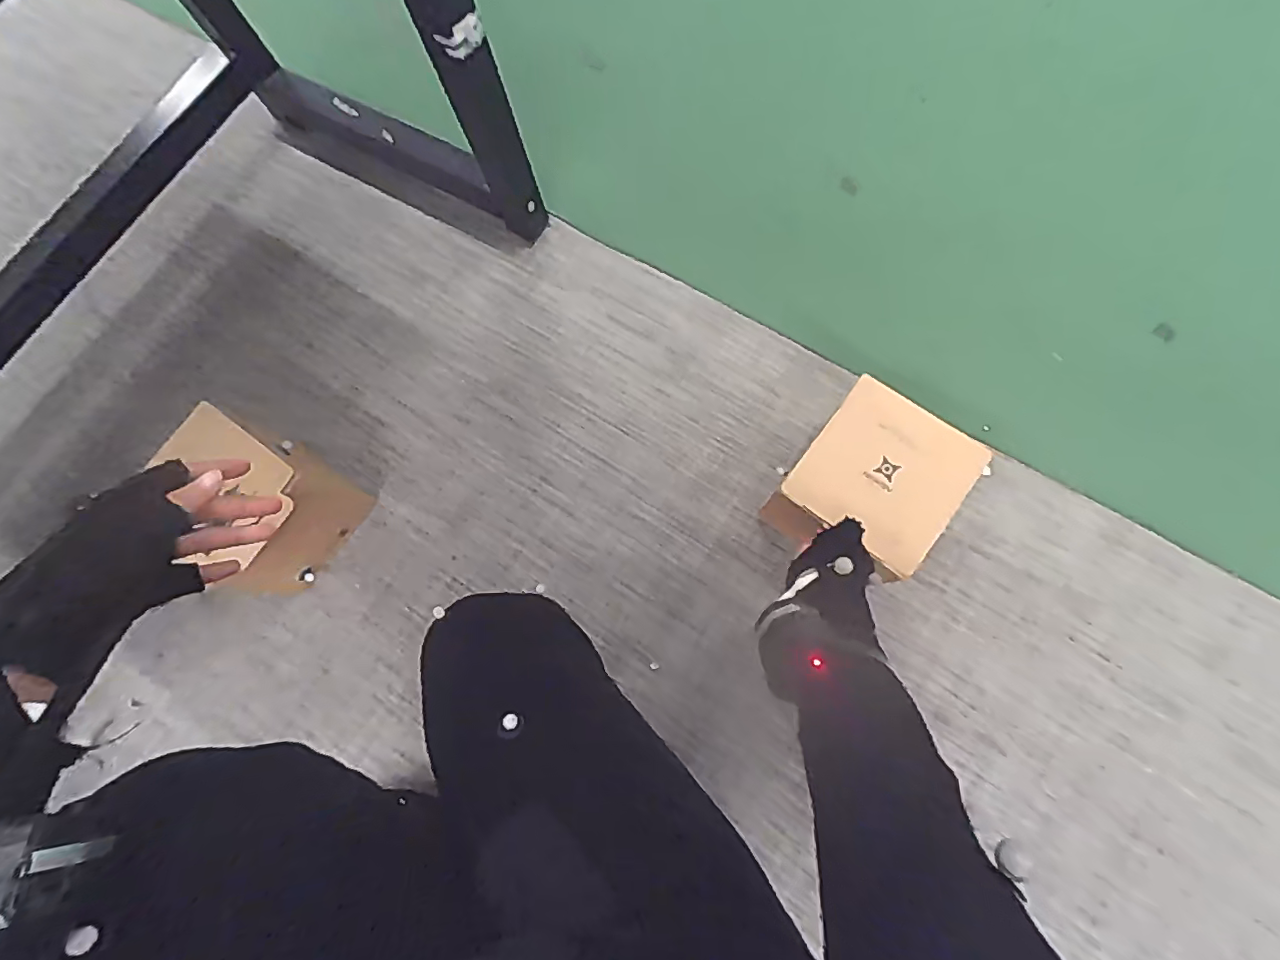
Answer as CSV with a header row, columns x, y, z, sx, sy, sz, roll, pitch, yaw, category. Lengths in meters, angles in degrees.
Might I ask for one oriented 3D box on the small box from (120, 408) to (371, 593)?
x,y,z,sx,sy,sz,roll,pitch,yaw,category
-0.510,0.036,0.728,0.179,0.176,0.168,33,81,13,small box
